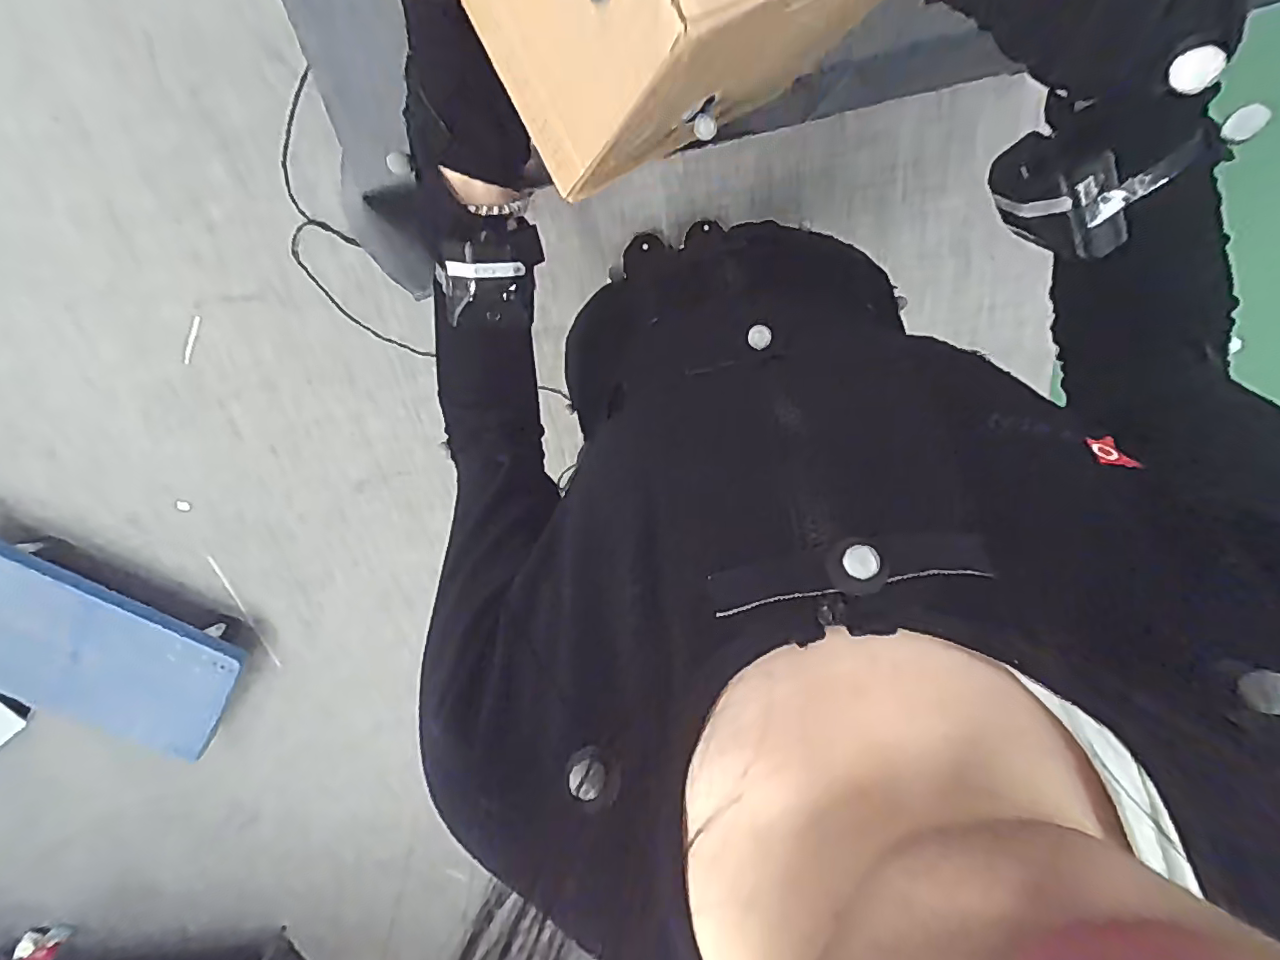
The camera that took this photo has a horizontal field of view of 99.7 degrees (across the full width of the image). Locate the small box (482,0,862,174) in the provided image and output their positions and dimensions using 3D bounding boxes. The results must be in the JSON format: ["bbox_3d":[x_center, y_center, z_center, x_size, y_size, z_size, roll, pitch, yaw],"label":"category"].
[{"bbox_3d":[0.012,-0.270,0.225,0.168,0.176,0.179,-35,112,-11],"label":"small box"}]
